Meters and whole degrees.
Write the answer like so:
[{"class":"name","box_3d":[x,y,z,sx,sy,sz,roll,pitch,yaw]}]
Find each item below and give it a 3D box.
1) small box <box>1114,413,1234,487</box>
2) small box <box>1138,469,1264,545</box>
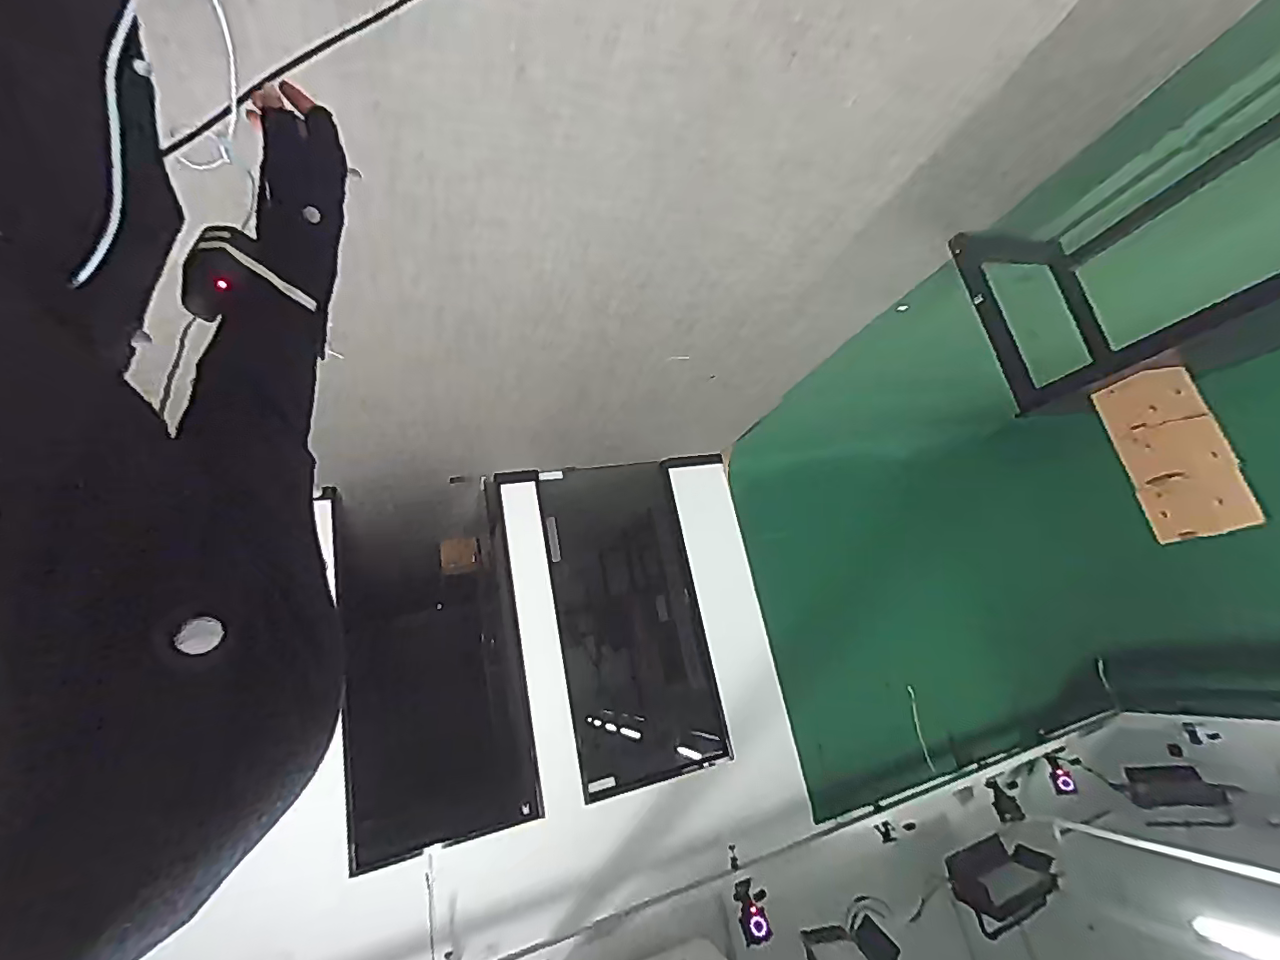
[{"class":"small box","box_3d":[1.597,-0.093,1.625,0.179,0.176,0.168,-9,164,-14]},{"class":"small box","box_3d":[1.633,0.078,1.585,0.179,0.176,0.168,-9,165,-14]}]
